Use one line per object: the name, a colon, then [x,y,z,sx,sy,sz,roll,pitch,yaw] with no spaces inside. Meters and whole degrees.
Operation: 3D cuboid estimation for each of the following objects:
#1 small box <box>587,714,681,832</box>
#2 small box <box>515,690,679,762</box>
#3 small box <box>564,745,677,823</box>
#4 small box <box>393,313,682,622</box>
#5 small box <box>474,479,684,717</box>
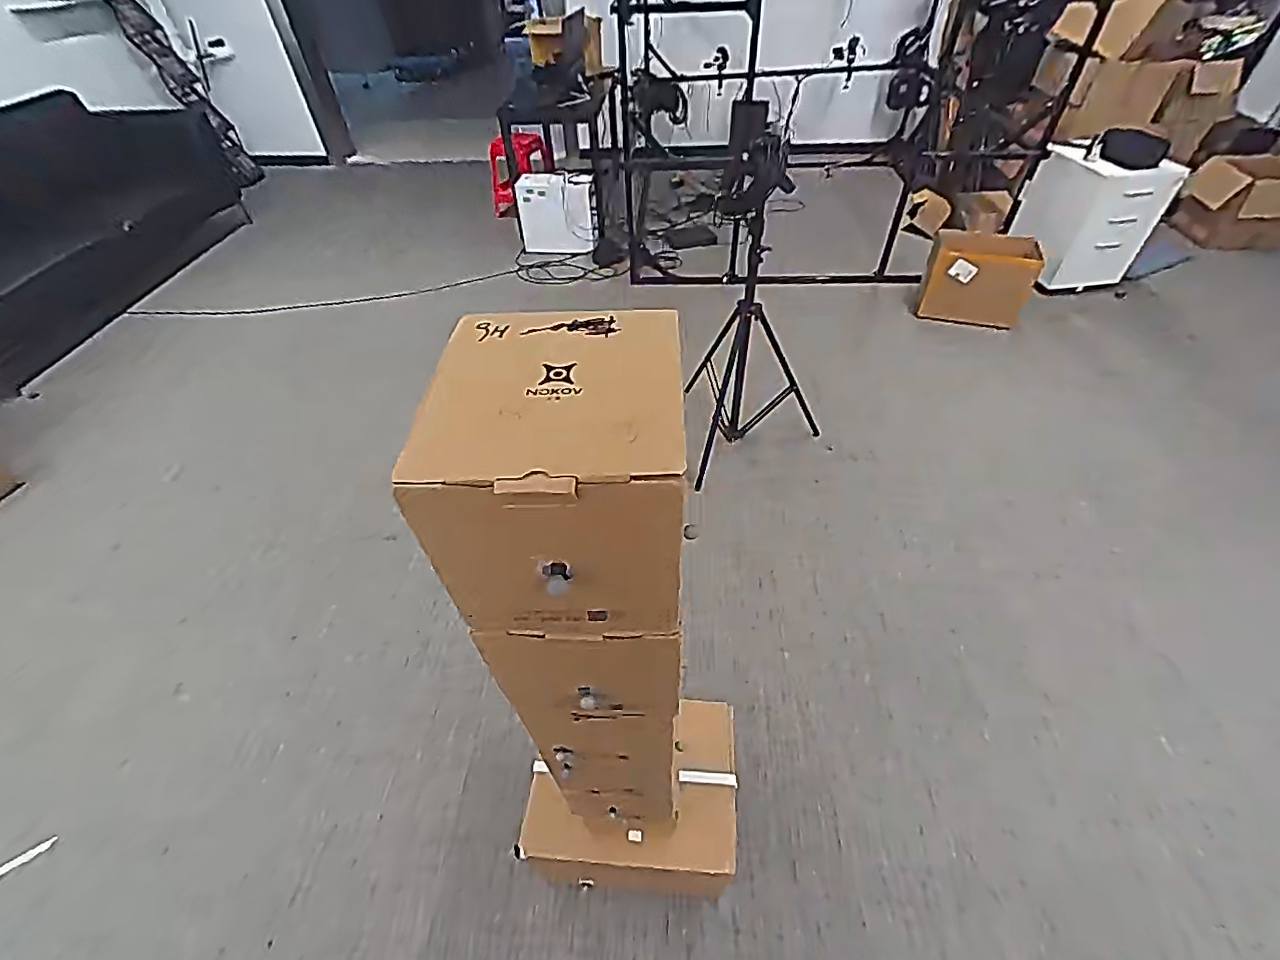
small box: [-0.012,0.548,1.013,0.179,0.176,0.168,0,47,2]
small box: [-0.035,0.221,0.650,0.168,0.176,0.179,2,47,5]
small box: [-0.022,0.443,0.891,0.168,0.176,0.179,0,48,4]
small box: [-0.052,-0.004,0.411,0.168,0.176,0.179,-1,48,2]
small box: [-0.042,0.110,0.528,0.168,0.176,0.179,0,48,4]
